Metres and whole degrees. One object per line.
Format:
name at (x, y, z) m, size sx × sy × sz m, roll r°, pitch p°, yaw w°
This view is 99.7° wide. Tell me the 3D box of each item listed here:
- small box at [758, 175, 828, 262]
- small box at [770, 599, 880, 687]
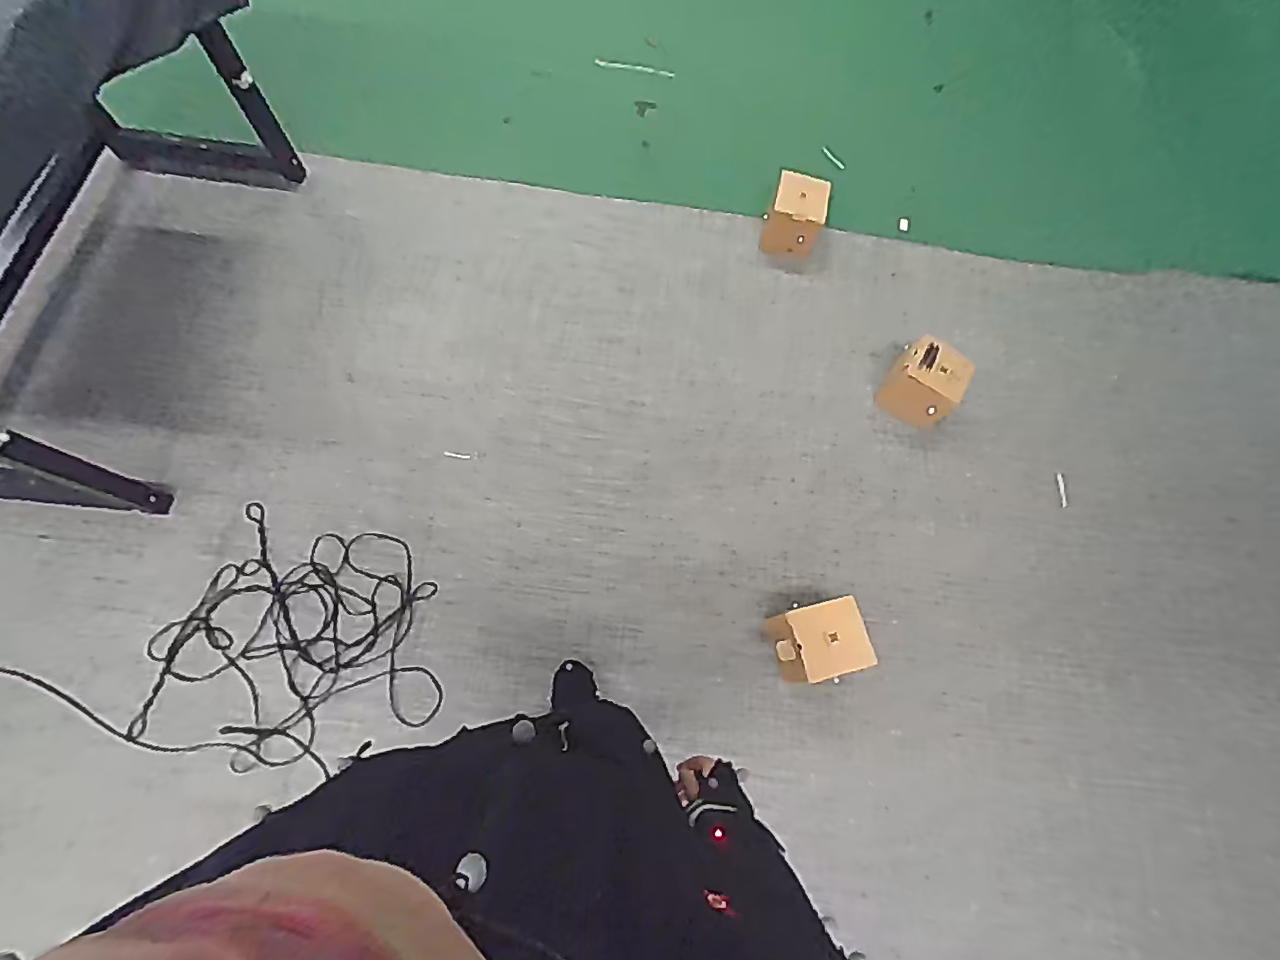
small box at (0.500, -0.856, 1.785) m, size 0.168 × 0.176 × 0.179 m, roll 14°, pitch 69°, yaw -2°
small box at (0.445, 0.401, 1.328) m, size 0.179 × 0.176 × 0.168 m, roll -13°, pitch 72°, yaw -9°
